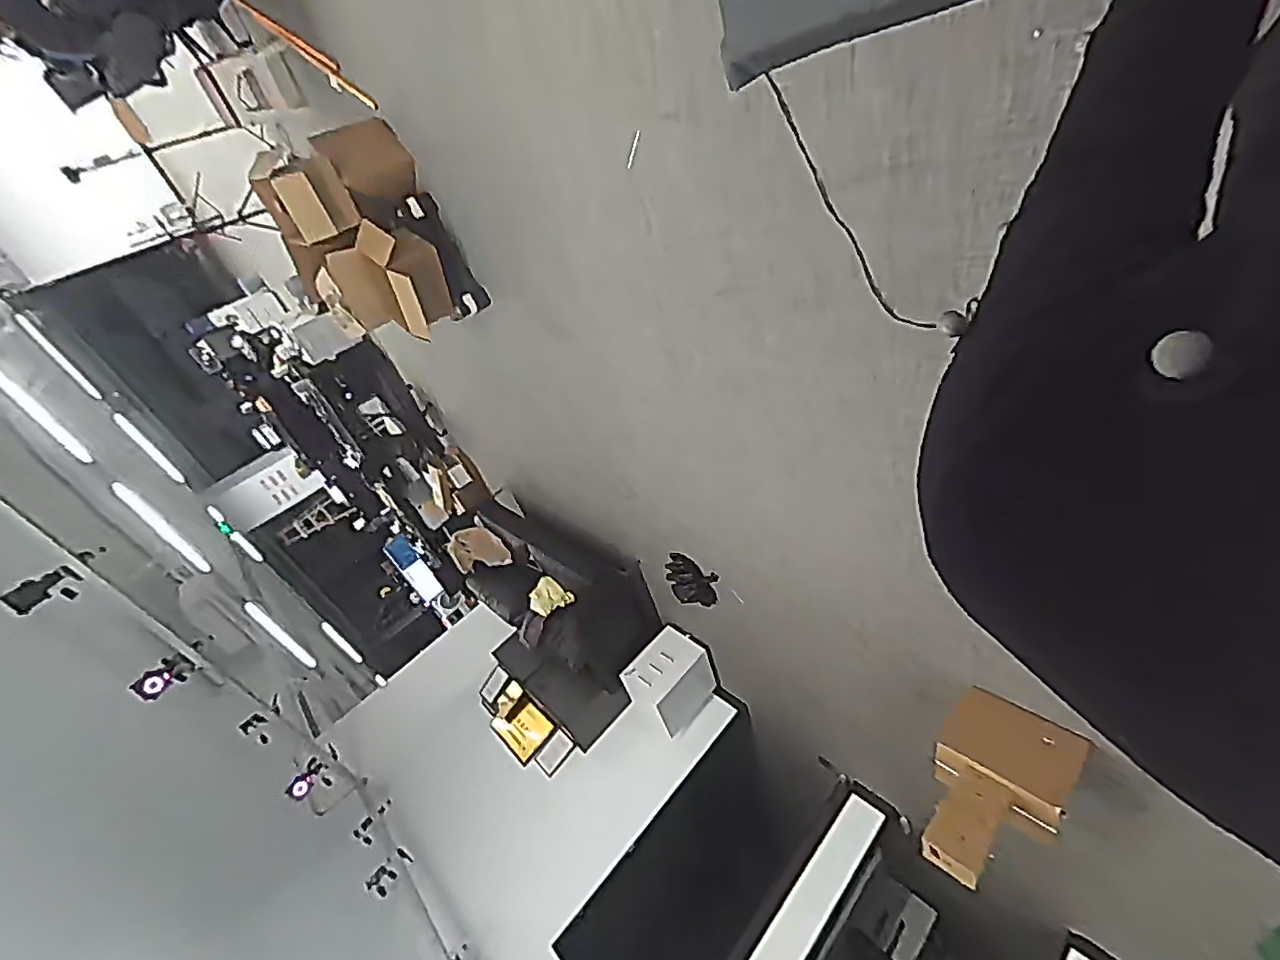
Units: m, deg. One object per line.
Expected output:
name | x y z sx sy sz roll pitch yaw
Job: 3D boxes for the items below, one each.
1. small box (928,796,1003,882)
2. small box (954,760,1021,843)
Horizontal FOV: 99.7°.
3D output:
small box | 1.160 1.268 1.929 0.179 0.176 0.168 20 141 48
small box | 1.282 1.180 1.997 0.168 0.176 0.179 20 141 46
